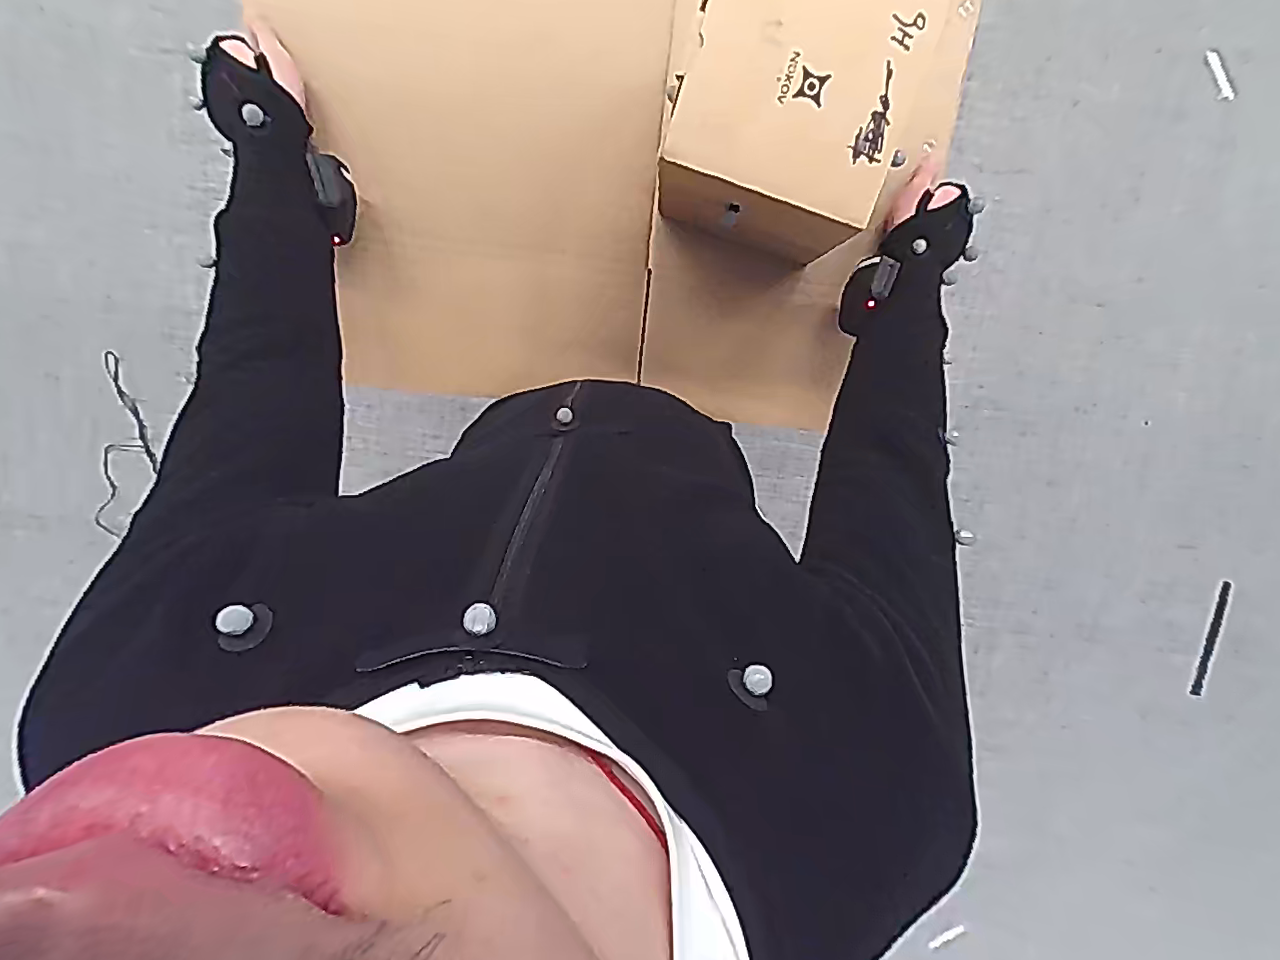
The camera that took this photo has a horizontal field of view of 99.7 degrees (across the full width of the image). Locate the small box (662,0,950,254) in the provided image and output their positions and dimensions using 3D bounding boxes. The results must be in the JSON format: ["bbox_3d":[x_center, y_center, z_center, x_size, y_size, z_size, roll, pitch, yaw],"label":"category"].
[{"bbox_3d":[0.128,-0.324,0.493,0.179,0.176,0.168,18,103,-1],"label":"small box"}]
